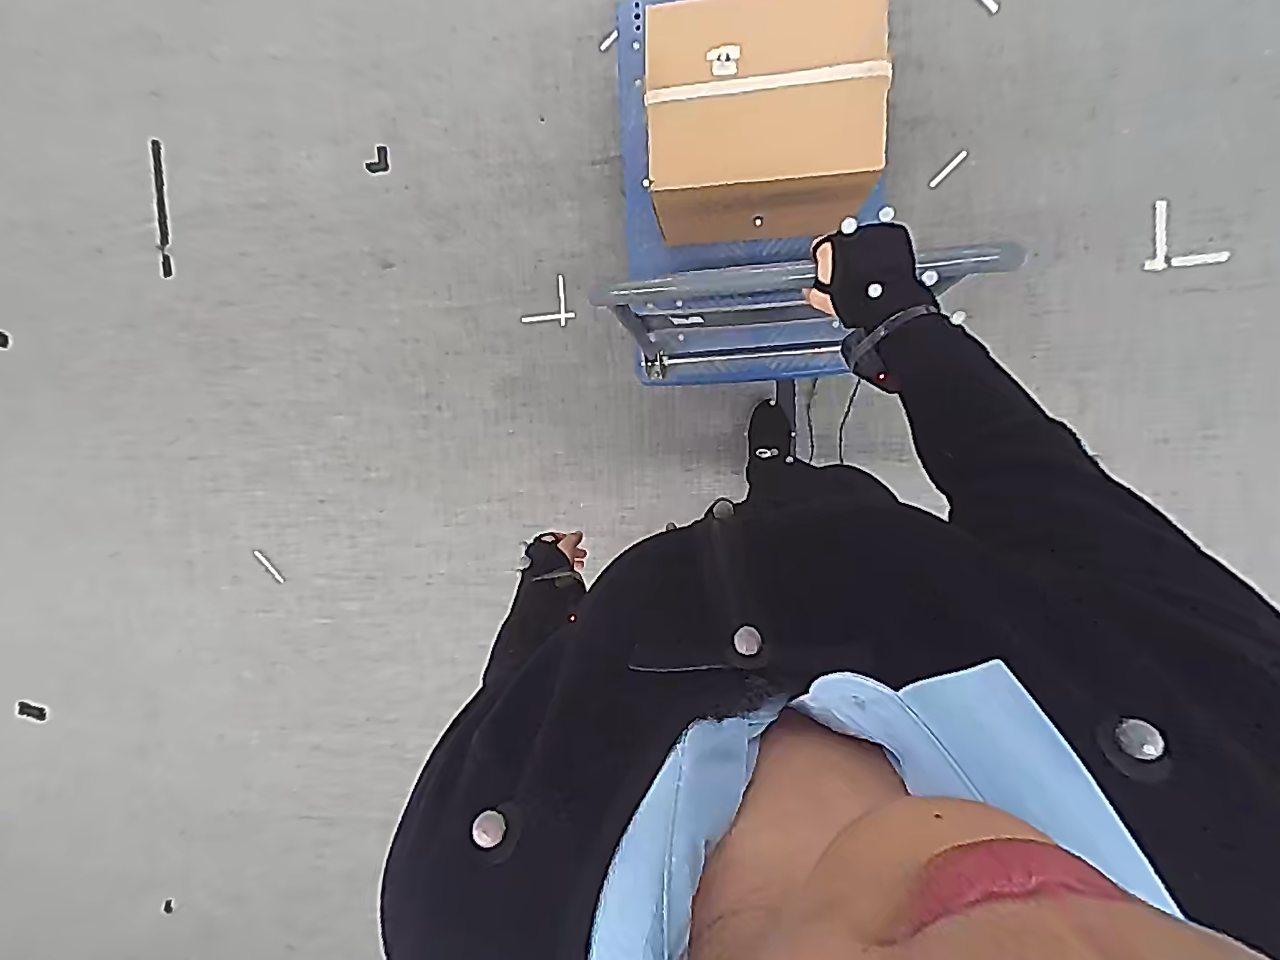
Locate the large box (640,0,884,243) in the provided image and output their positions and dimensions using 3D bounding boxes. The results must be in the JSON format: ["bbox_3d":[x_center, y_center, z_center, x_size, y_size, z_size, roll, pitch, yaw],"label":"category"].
[{"bbox_3d":[0.229,-0.689,1.063,0.408,0.320,0.320,-1,95,10],"label":"large box"}]
